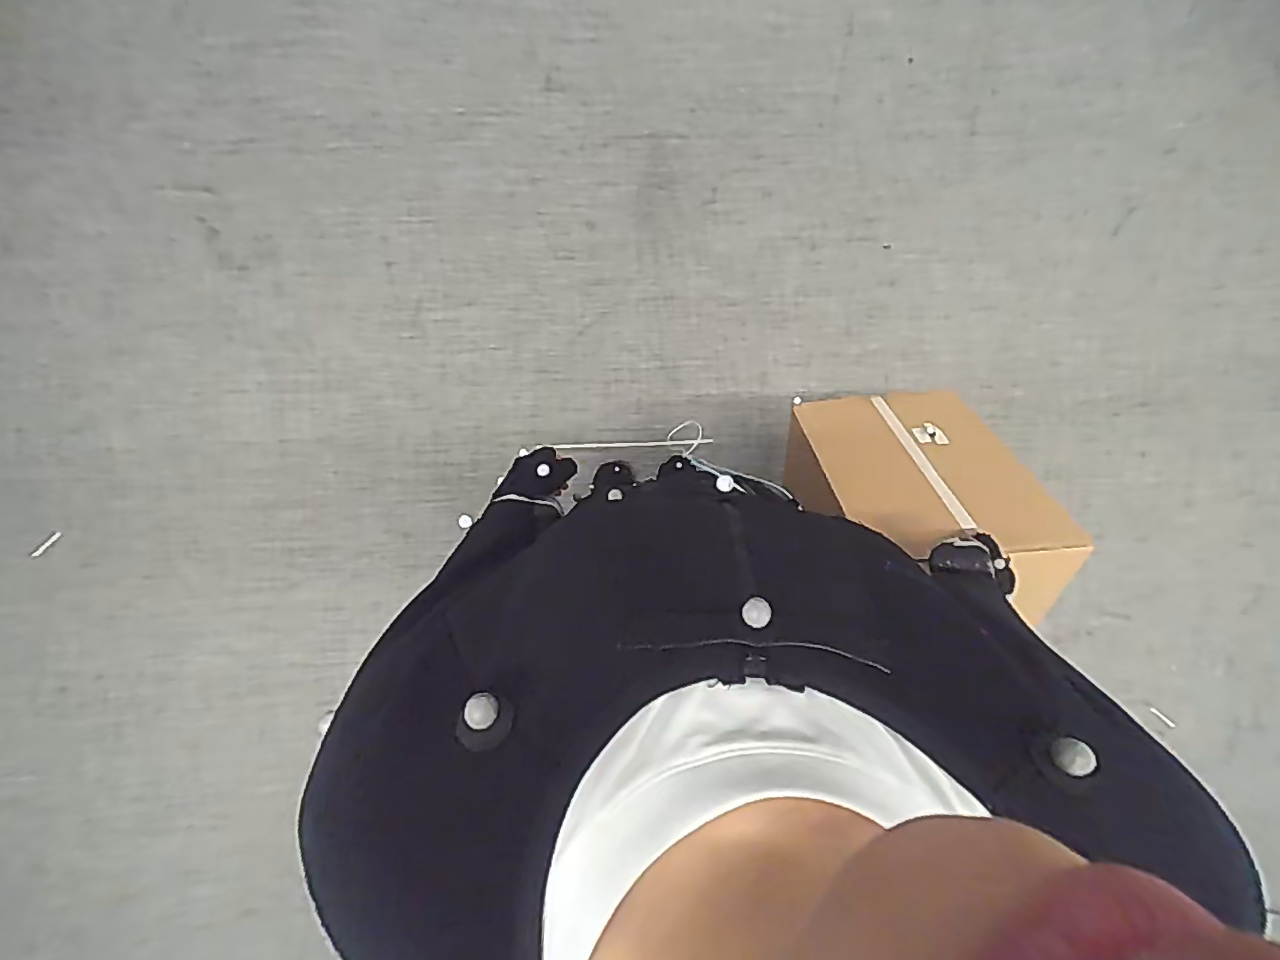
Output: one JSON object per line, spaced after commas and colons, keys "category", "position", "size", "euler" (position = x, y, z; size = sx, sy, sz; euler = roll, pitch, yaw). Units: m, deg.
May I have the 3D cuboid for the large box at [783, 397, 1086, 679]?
{"category": "large box", "position": [0.474, 0.095, 0.997], "size": [0.320, 0.408, 0.320], "euler": [-5, 130, 0]}
